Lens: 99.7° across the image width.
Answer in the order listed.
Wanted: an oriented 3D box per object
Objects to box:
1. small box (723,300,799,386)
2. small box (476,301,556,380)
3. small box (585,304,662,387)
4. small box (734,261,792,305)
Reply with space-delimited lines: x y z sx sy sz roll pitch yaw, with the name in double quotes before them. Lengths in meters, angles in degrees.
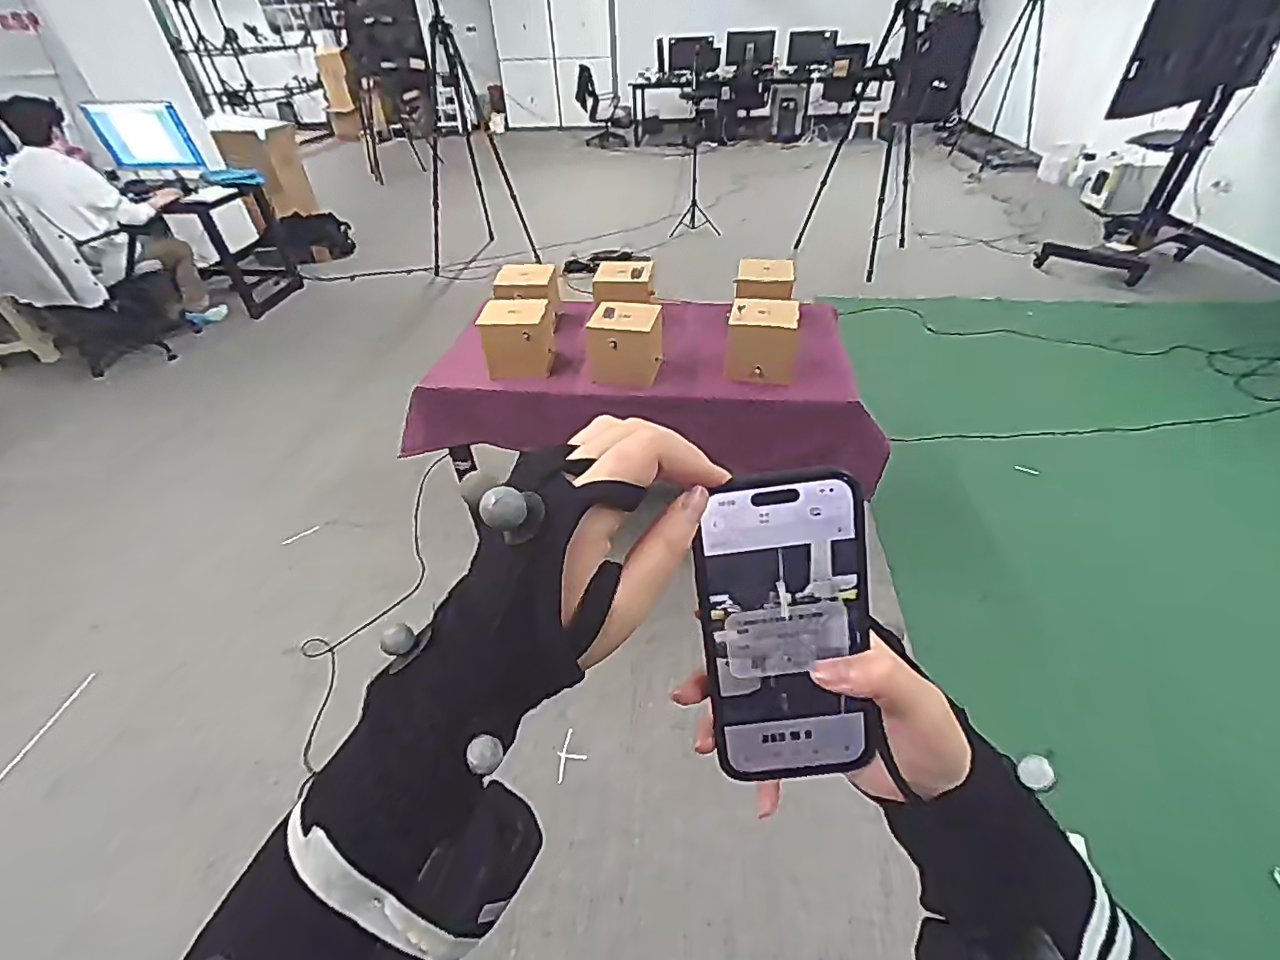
"small box" 0.331 -0.374 1.484 0.179 0.176 0.168 8 42 12
"small box" -0.348 -0.399 1.550 0.179 0.176 0.168 0 41 1
"small box" -0.039 -0.373 1.502 0.179 0.176 0.168 8 42 11
"small box" 0.387 -0.579 1.715 0.168 0.176 0.179 5 42 10
